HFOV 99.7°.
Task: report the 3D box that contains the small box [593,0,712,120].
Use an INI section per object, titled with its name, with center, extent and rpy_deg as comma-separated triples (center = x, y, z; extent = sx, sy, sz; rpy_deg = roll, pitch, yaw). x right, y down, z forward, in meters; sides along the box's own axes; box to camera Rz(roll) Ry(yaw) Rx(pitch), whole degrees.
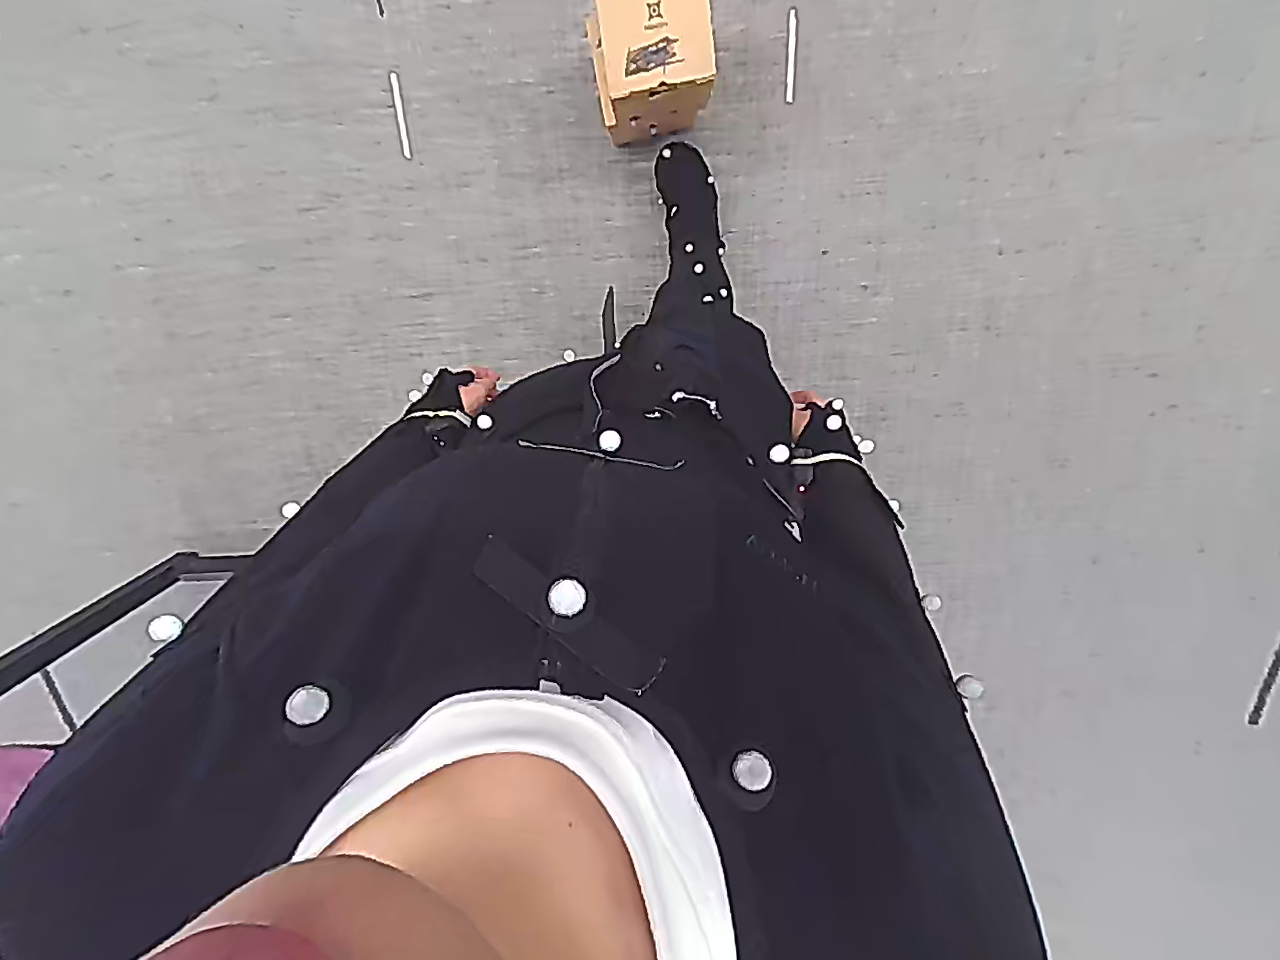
[small box]
center = 0.020, -0.701, 0.864
extent = 0.168, 0.176, 0.179
rpy_deg = -8, 110, 4
